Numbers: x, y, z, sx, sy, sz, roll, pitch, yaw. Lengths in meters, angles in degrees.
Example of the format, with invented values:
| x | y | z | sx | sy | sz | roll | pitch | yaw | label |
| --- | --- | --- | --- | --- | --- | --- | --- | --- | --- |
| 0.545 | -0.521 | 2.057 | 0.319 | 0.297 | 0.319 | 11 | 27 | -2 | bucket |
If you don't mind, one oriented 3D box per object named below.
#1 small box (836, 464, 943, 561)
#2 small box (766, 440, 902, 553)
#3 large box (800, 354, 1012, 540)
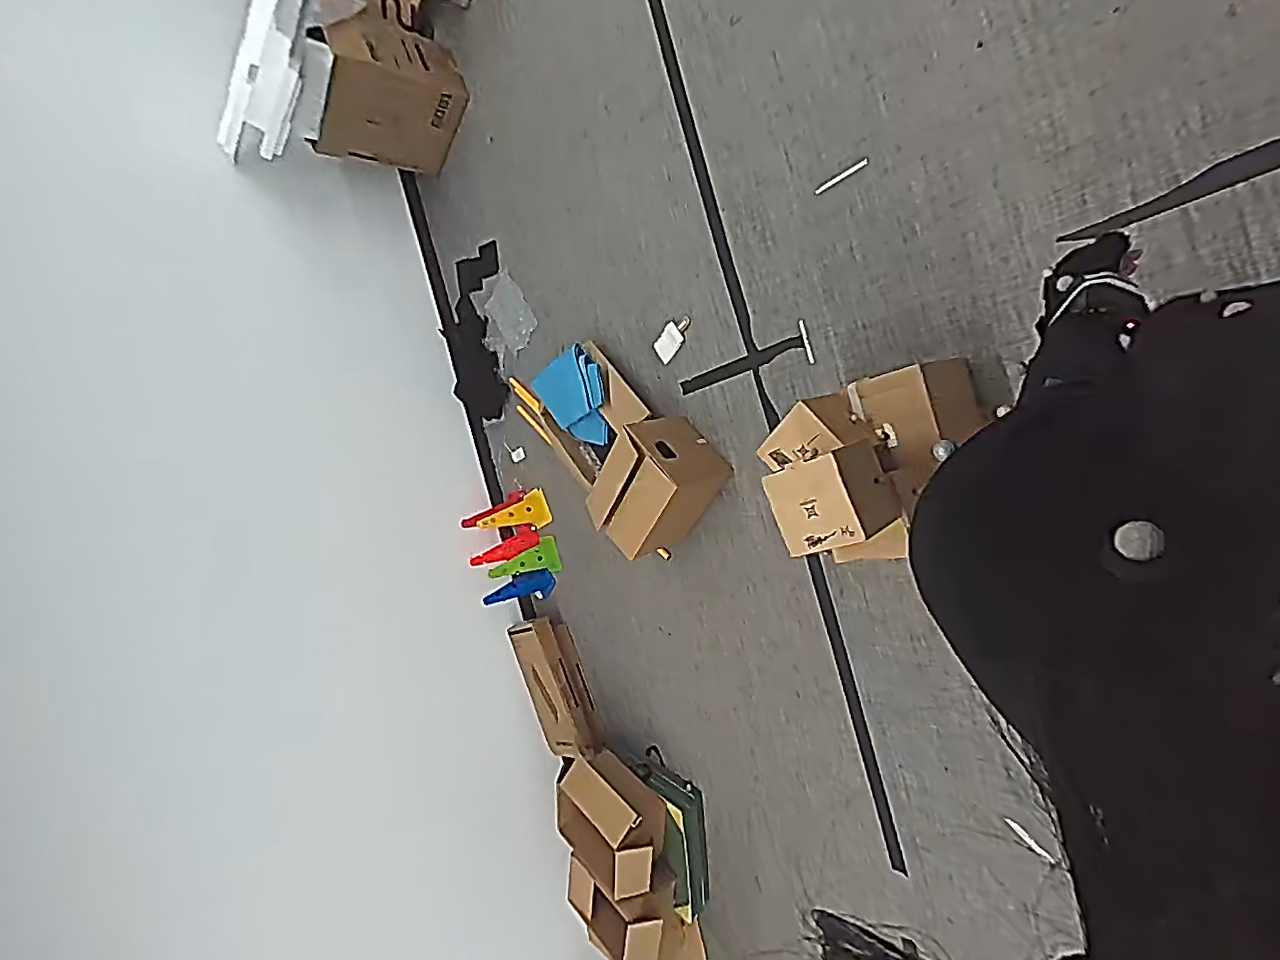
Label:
| x | y | z | sx | sy | sz | roll | pitch | yaw | label |
| --- | --- | --- | --- | --- | --- | --- | --- | --- | --- |
| 0.533 | 0.069 | 1.176 | 0.179 | 0.176 | 0.168 | -17 | 87 | 50 | small box |
| 0.386 | 0.028 | 1.075 | 0.168 | 0.176 | 0.179 | -24 | 84 | 48 | small box |
| 0.666 | -0.068 | 1.354 | 0.320 | 0.320 | 0.408 | -17 | 88 | 48 | large box |
